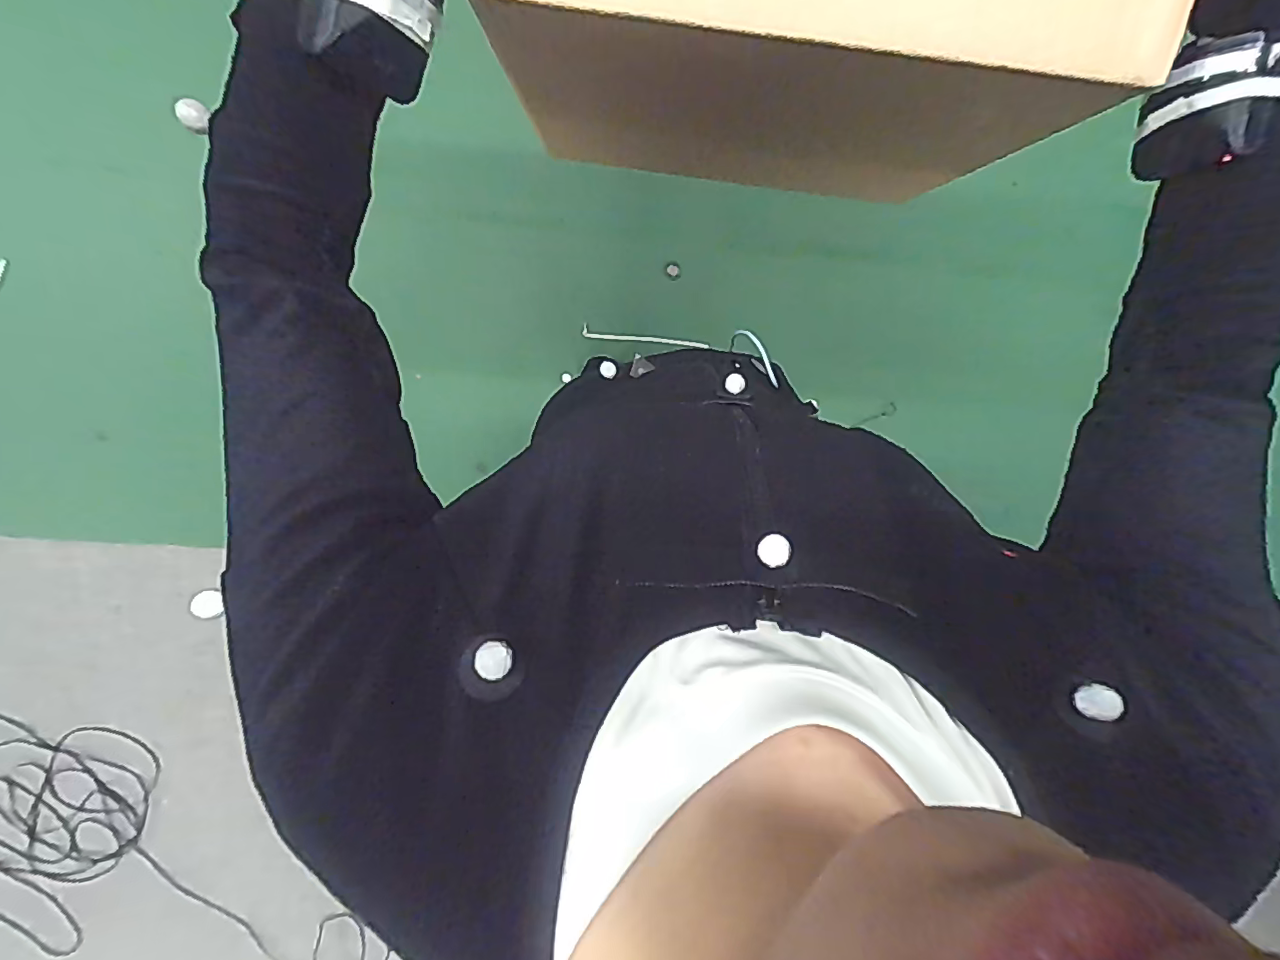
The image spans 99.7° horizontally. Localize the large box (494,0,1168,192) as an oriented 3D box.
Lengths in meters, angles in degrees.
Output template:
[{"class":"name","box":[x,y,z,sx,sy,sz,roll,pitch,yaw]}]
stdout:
[{"class":"large box","box":[0.114,-0.445,0.415,0.408,0.320,0.320,6,106,-4]}]
